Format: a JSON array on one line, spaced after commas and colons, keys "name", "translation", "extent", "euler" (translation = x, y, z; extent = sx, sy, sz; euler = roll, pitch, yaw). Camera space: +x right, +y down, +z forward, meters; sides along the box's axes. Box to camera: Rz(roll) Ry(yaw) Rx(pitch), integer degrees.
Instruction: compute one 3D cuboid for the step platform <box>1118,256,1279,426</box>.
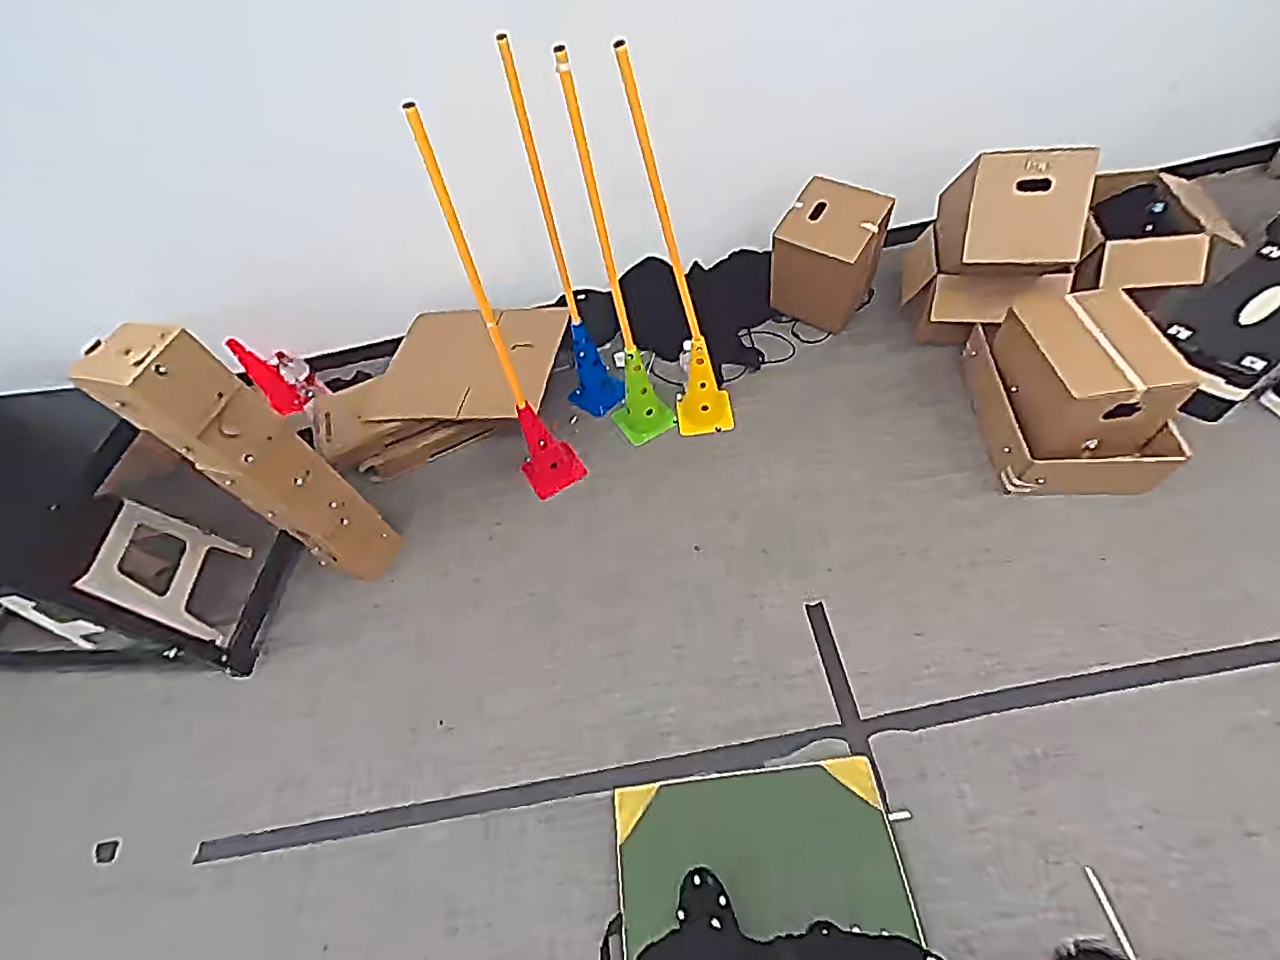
[{"name": "step platform", "translation": [1.945, -0.472, 1.780], "extent": [0.684, 0.204, 0.286], "euler": [-35, 56, -13]}]
